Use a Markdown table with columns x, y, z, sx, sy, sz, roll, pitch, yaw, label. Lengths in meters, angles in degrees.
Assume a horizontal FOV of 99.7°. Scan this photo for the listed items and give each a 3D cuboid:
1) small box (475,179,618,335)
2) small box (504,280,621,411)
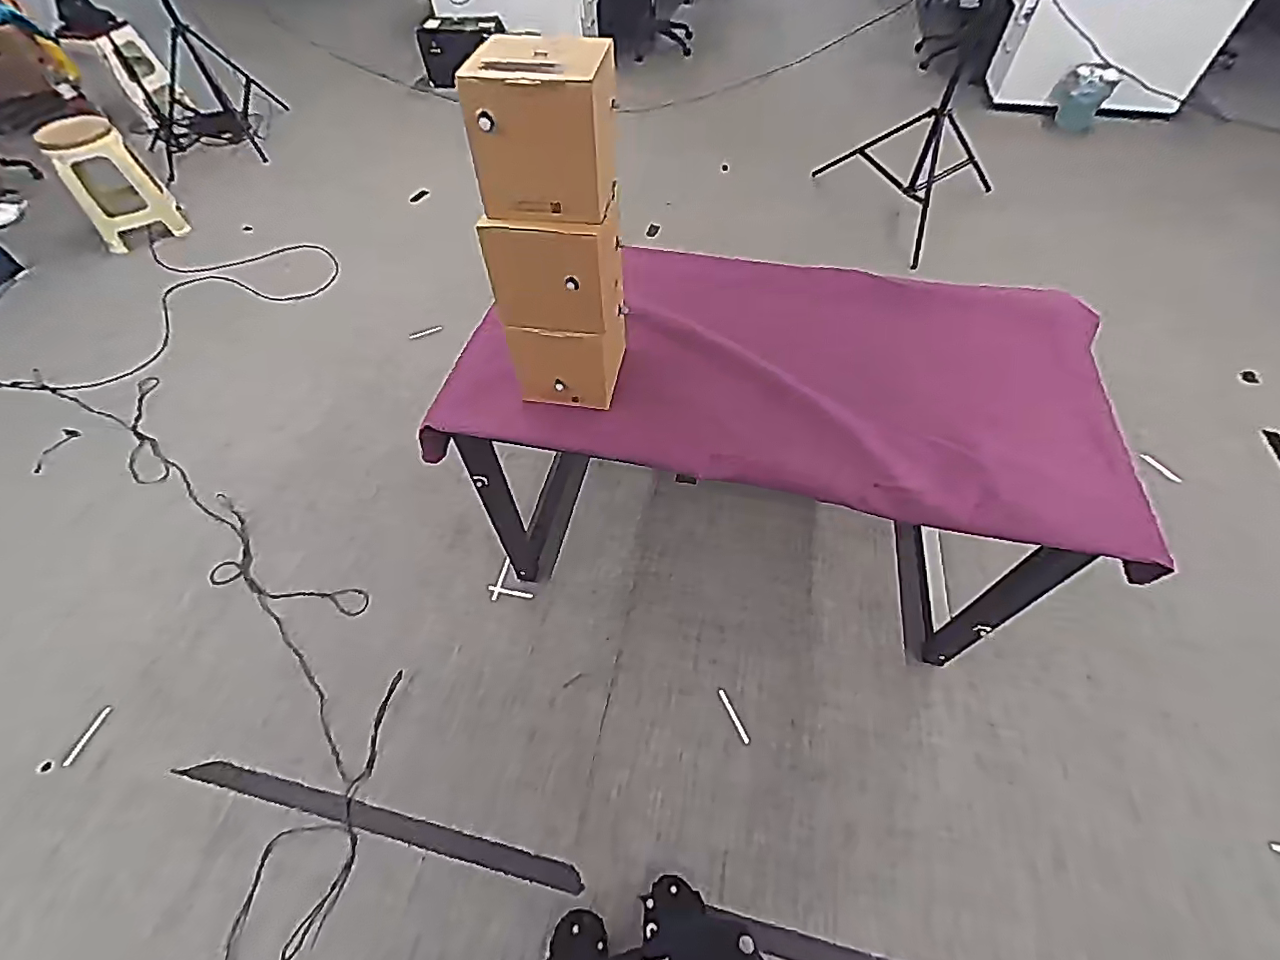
| x | y | z | sx | sy | sz | roll | pitch | yaw | label |
| --- | --- | --- | --- | --- | --- | --- | --- | --- | --- |
| -0.133 | -0.349 | 0.858 | 0.179 | 0.176 | 0.168 | 6 | 52 | 6 | small box |
| -0.130 | -0.253 | 0.988 | 0.168 | 0.176 | 0.179 | 7 | 55 | 7 | small box |
